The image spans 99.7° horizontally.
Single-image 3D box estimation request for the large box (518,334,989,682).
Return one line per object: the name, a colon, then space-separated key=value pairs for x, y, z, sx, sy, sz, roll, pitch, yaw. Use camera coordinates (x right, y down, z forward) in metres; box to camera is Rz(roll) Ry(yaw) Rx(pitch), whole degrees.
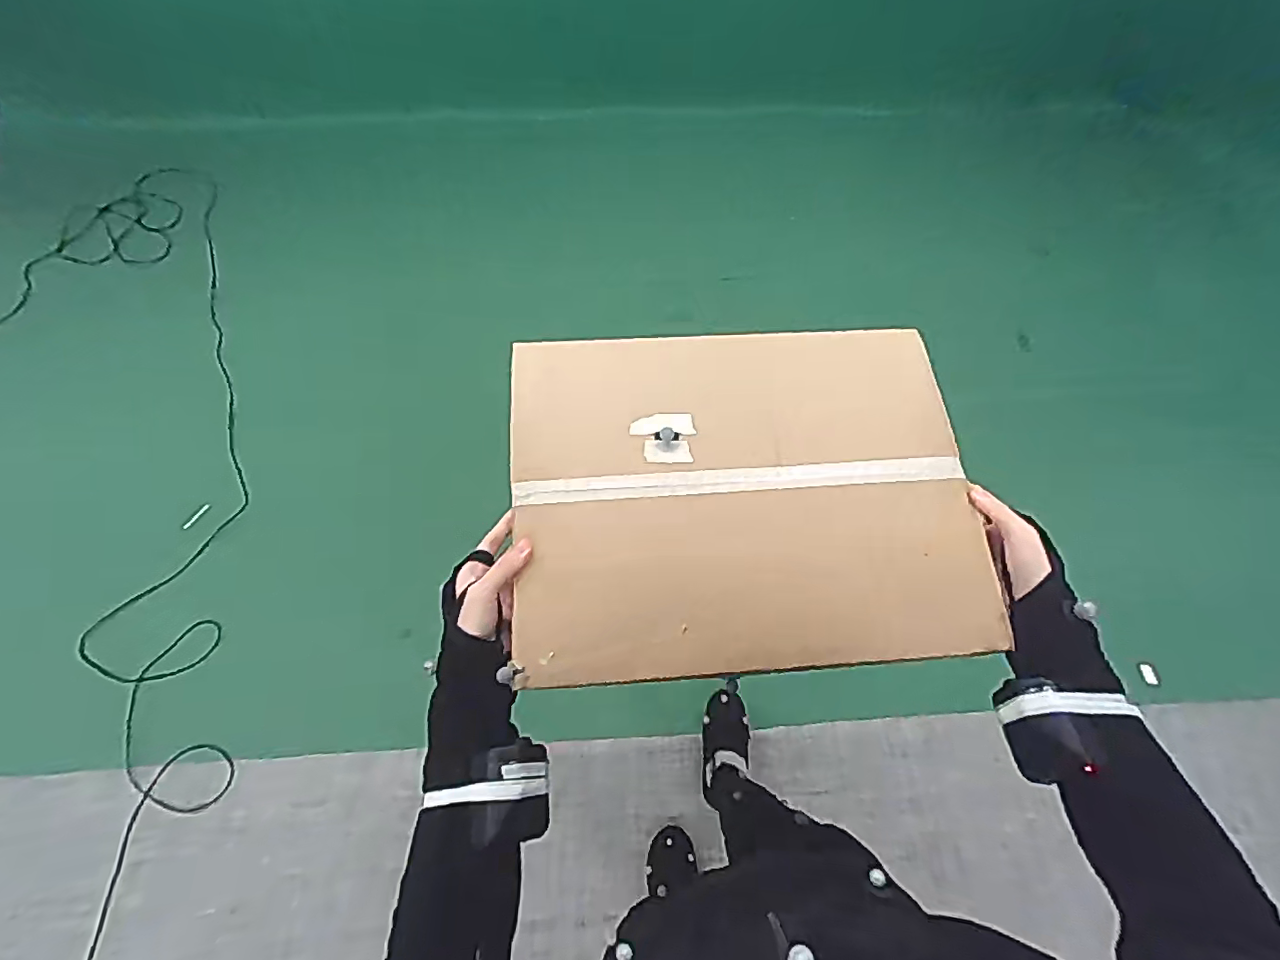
large box: x=0.087 y=0.056 z=0.638 sx=0.408 sy=0.320 sz=0.320 roll=-4 pitch=69 yaw=-3
